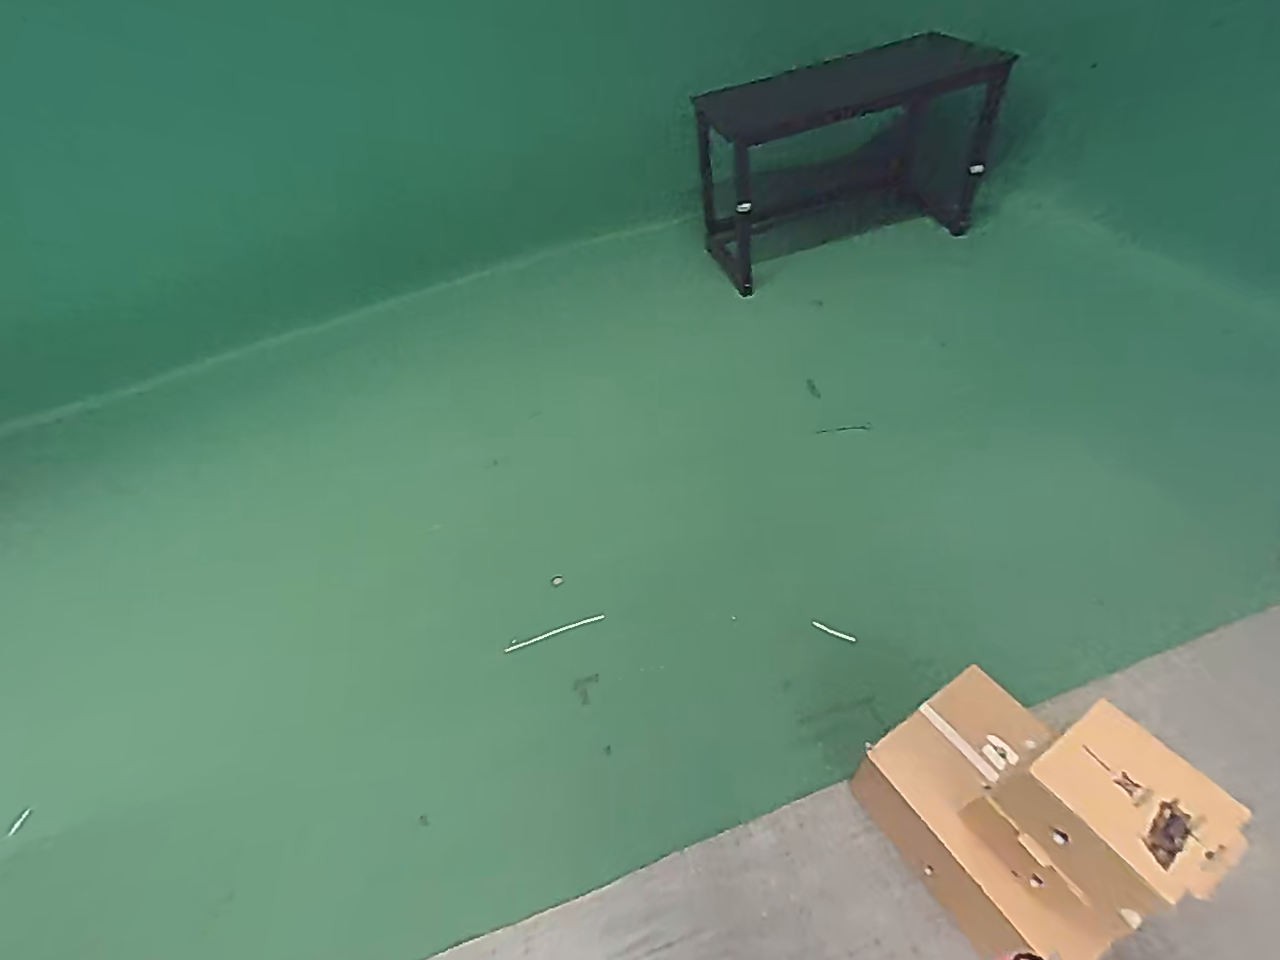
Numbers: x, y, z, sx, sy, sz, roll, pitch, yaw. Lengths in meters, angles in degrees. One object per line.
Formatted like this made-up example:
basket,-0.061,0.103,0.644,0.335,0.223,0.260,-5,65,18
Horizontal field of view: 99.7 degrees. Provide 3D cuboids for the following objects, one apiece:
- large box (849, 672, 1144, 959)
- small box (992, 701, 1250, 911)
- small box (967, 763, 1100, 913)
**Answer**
large box,0.691,0.682,1.077,0.320,0.320,0.408,-29,48,-15
small box,0.637,0.448,0.743,0.168,0.176,0.179,-31,50,-14
small box,0.660,0.554,0.866,0.179,0.176,0.168,-30,50,-13
